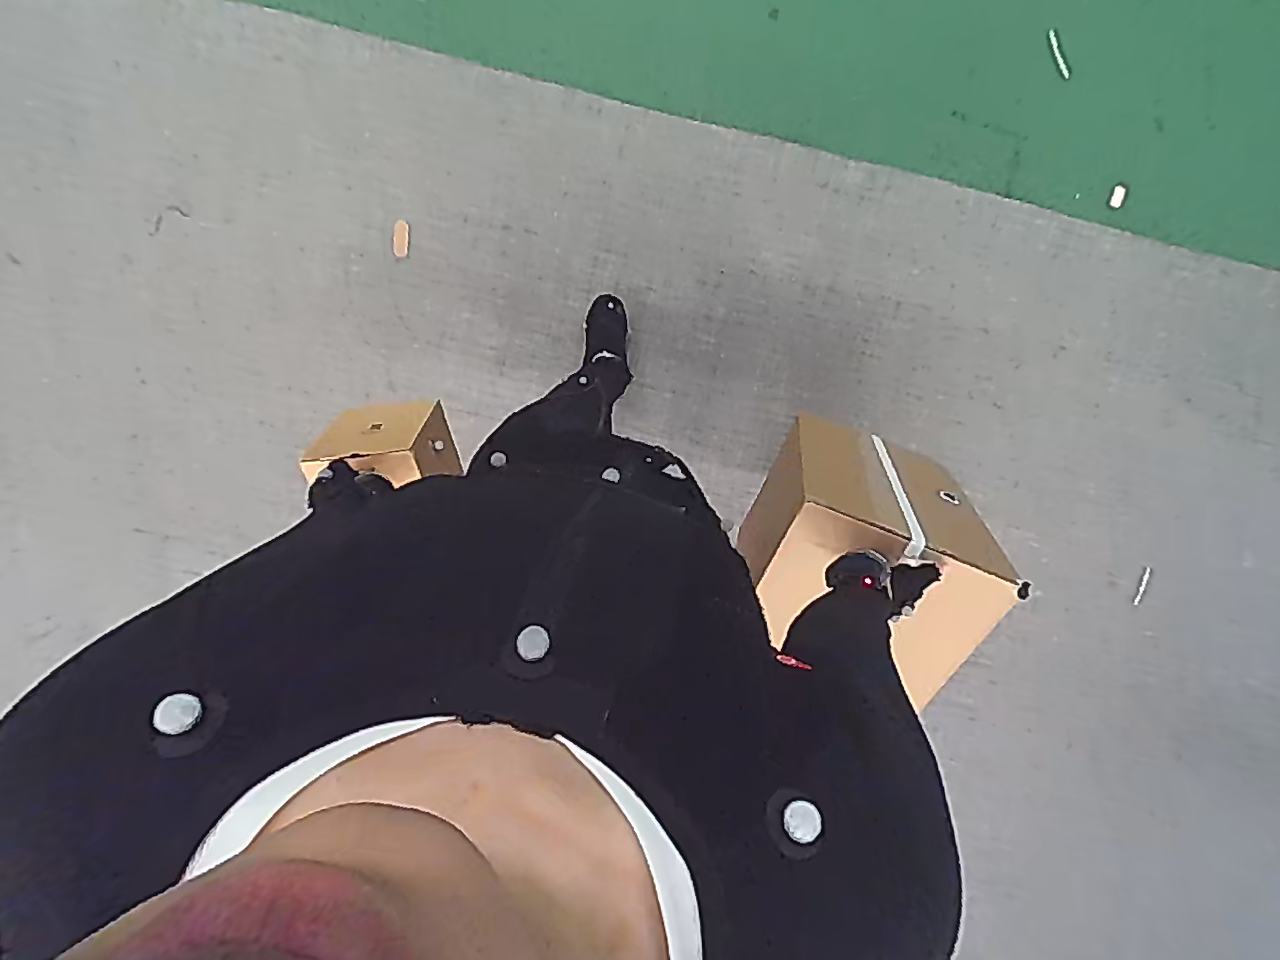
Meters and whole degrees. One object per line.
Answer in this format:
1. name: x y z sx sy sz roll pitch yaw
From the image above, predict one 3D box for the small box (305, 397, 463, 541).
1. small box: -0.408 -0.020 0.901 0.168 0.179 0.176 -7 124 0
